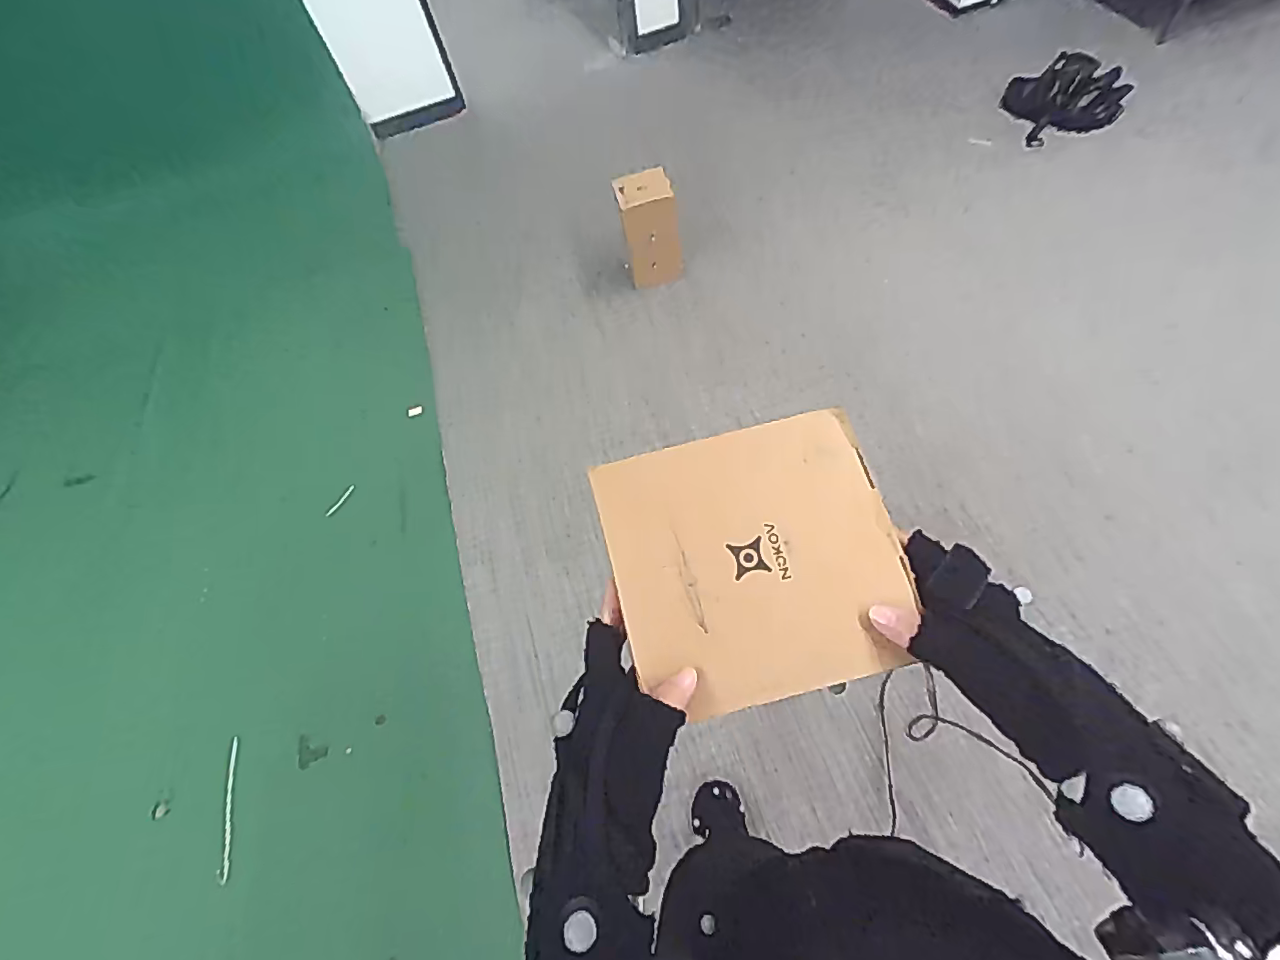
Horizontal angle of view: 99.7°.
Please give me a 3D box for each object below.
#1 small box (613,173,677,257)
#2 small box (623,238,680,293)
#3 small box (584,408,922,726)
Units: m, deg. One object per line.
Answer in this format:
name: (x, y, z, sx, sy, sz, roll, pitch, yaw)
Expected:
small box: (0.022, -0.887, 1.819, 0.179, 0.176, 0.168, -17, 62, 0)
small box: (0.045, -0.811, 1.960, 0.179, 0.176, 0.168, -16, 60, 2)
small box: (0.068, 0.070, 0.414, 0.179, 0.176, 0.168, -15, 72, -1)
